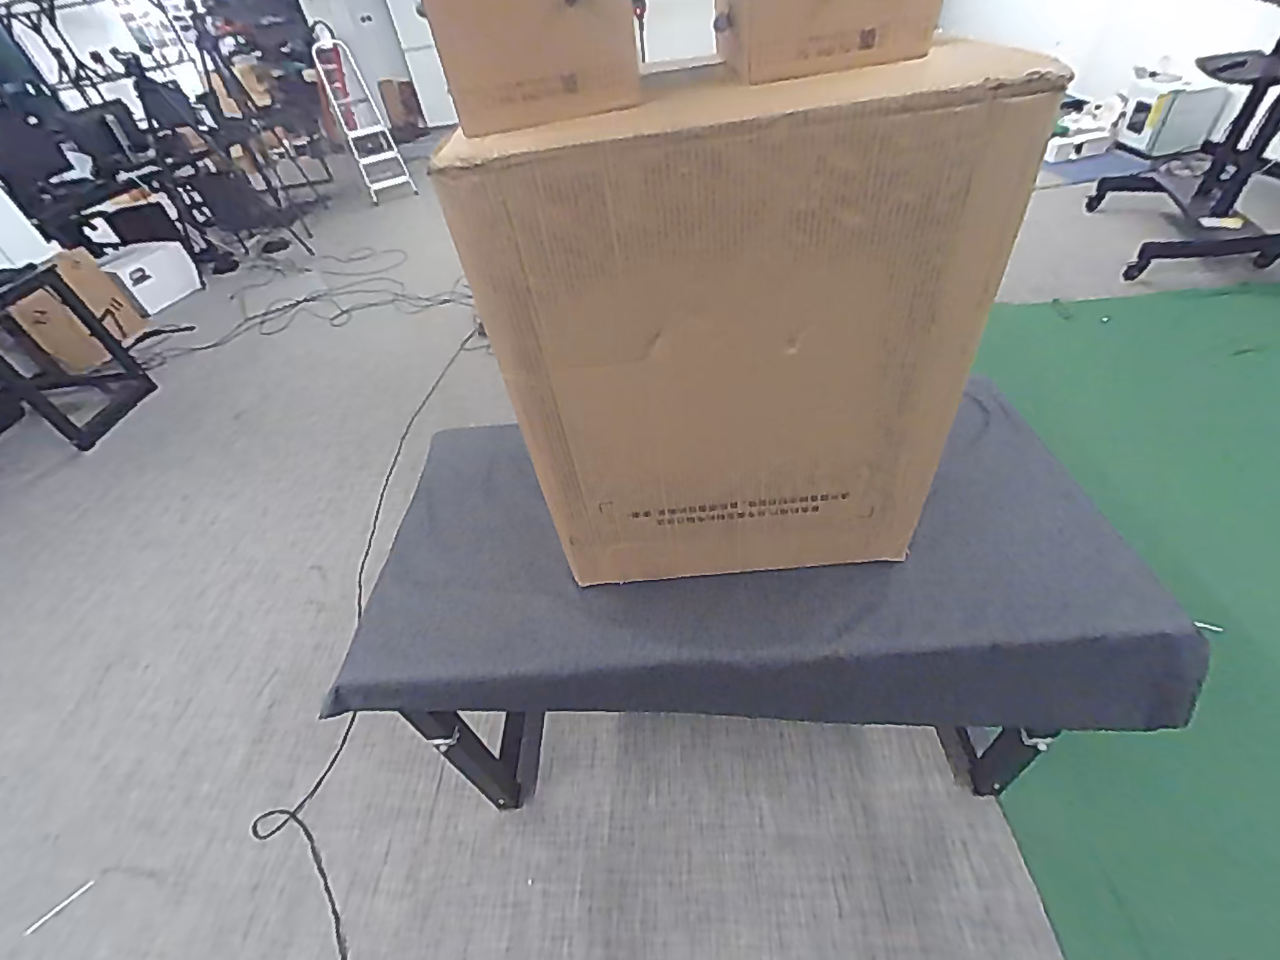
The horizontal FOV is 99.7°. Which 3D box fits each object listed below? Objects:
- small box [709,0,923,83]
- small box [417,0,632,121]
[{"bbox_3d":[0.155,-0.486,0.494,0.168,0.176,0.179,-9,47,2],"label":"small box"},{"bbox_3d":[-0.109,-0.446,0.486,0.168,0.176,0.179,-13,47,-1],"label":"small box"}]
